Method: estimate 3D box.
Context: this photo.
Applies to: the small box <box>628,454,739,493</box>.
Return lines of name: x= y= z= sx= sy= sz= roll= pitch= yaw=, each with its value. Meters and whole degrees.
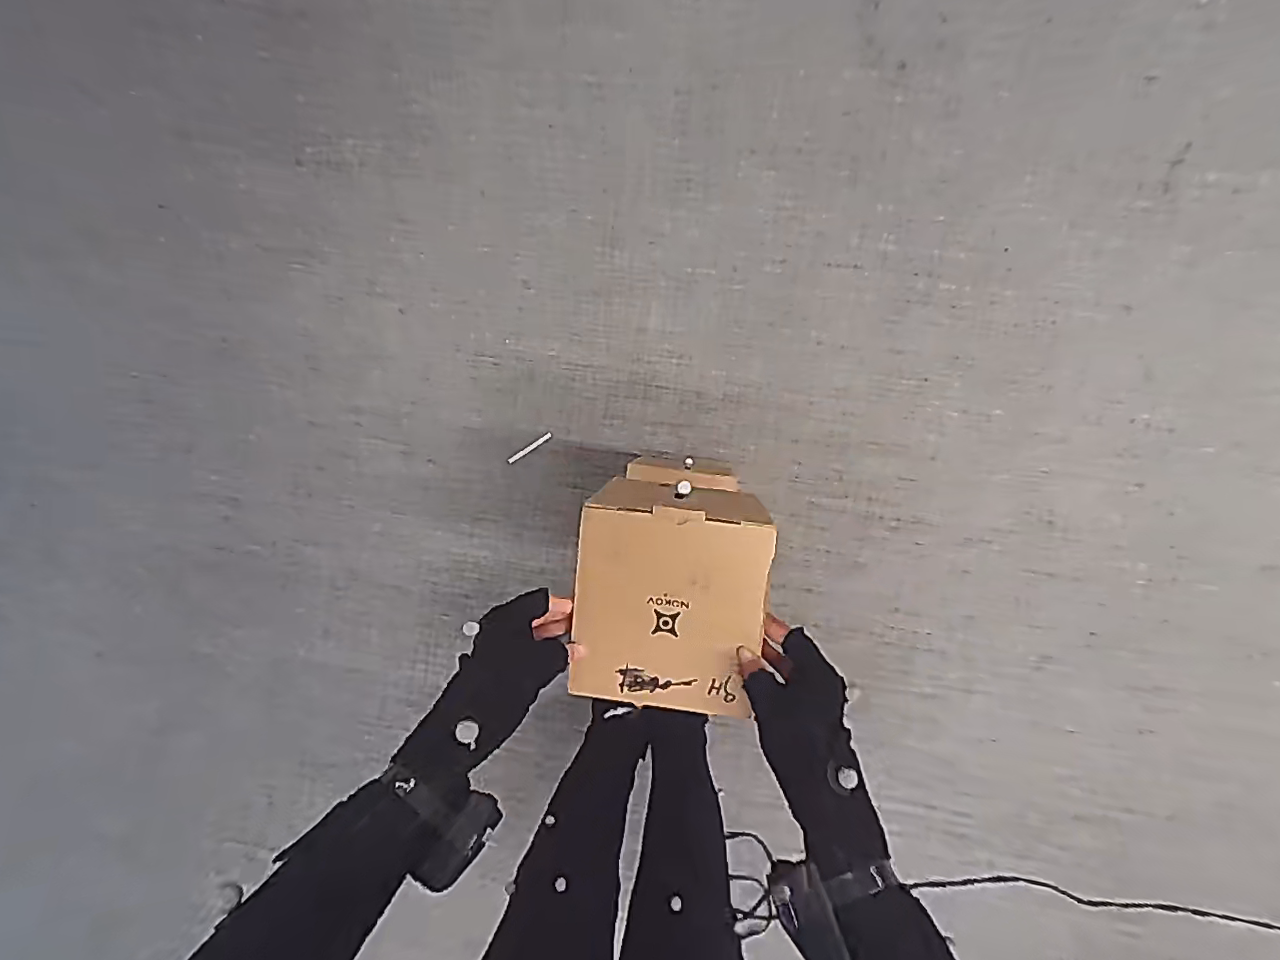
small box: x=0.070 y=0.048 z=0.946 sx=0.179 sy=0.176 sz=0.168 roll=9 pitch=98 yaw=6

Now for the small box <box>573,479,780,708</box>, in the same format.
small box: x=0.036 y=0.098 z=0.553 sx=0.168 sy=0.176 sz=0.179 roll=7 pitch=98 yaw=5
